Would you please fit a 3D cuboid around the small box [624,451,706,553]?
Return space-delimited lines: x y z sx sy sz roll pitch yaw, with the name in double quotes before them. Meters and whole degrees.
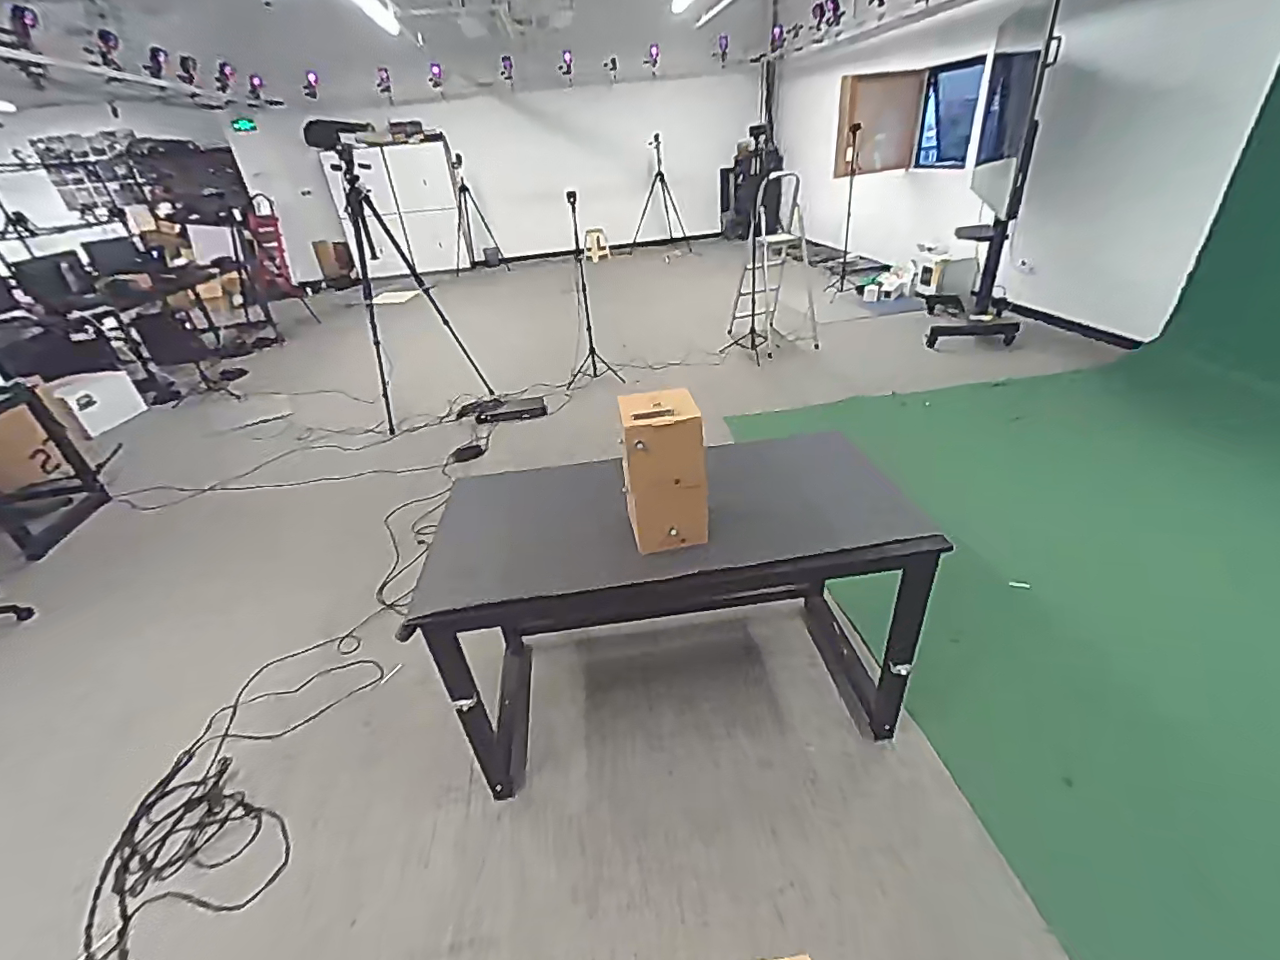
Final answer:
"small box" 0.057 0.050 1.299 0.168 0.176 0.179 -9 30 -6
